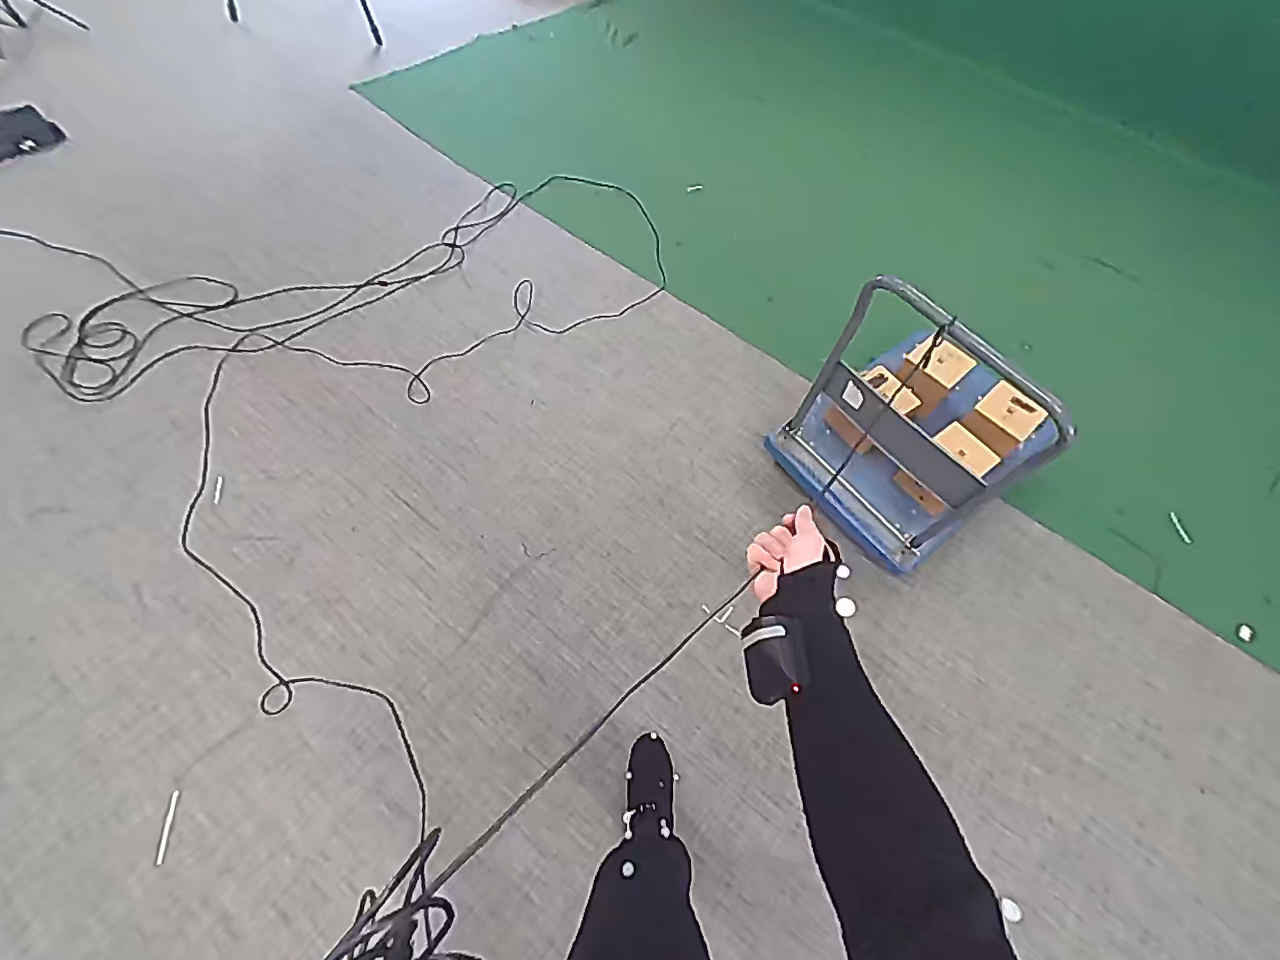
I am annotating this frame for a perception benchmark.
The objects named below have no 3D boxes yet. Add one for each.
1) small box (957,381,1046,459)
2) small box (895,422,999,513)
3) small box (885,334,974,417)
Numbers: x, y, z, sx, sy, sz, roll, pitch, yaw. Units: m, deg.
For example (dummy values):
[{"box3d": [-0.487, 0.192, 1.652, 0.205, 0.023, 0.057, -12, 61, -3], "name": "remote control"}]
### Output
[{"box3d": [1.113, -0.172, 1.702, 0.179, 0.176, 0.168, -37, 69, -22], "name": "small box"}, {"box3d": [0.901, -0.033, 1.605, 0.179, 0.176, 0.168, -32, 68, -21], "name": "small box"}, {"box3d": [0.944, -0.340, 1.783, 0.179, 0.176, 0.168, -36, 70, -23], "name": "small box"}]
